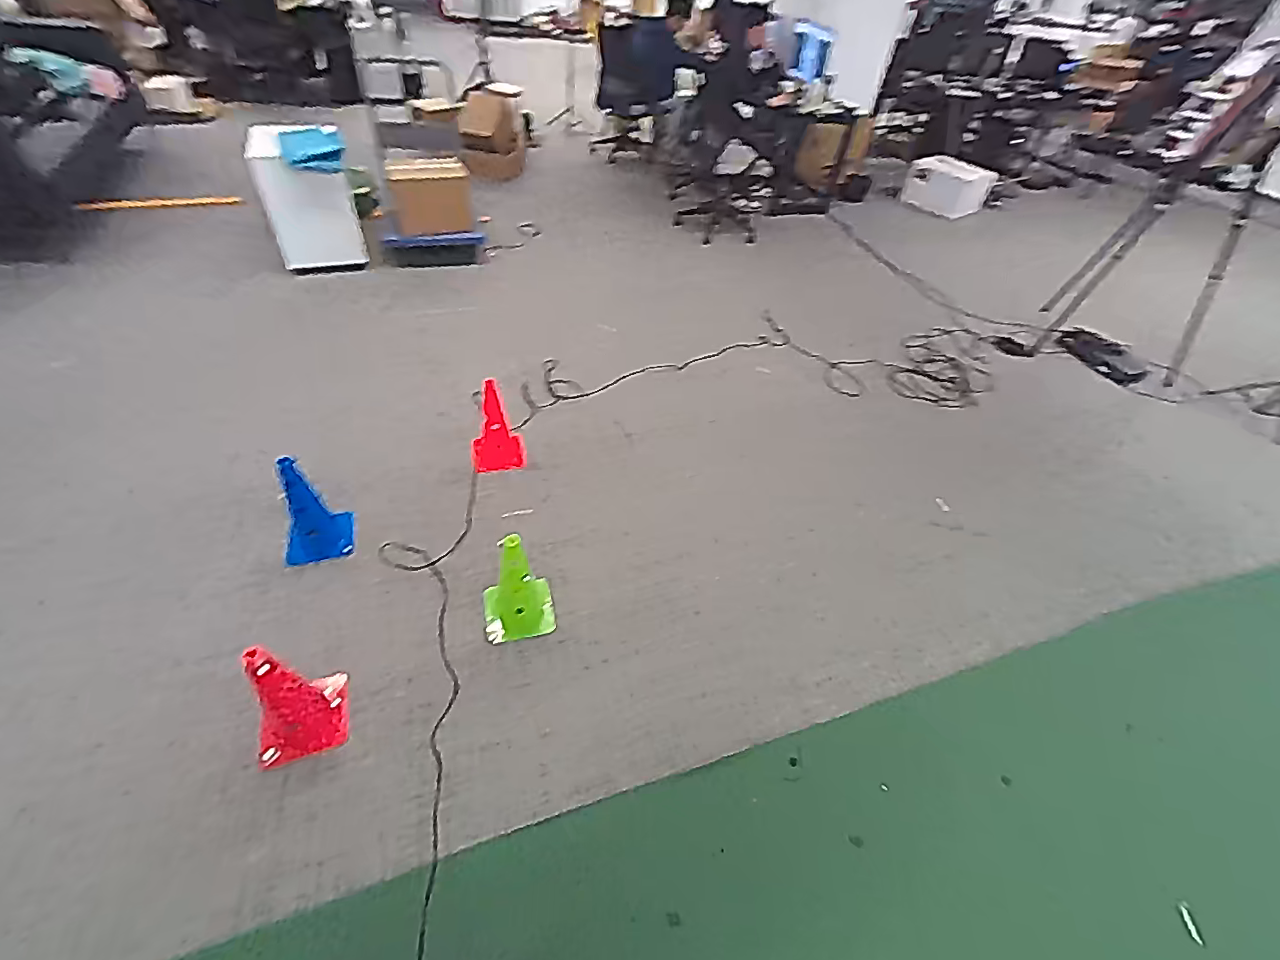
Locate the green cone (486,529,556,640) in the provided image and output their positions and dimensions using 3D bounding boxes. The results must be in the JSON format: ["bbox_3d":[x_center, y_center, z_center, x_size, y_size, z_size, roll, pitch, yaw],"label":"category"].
[{"bbox_3d":[-0.357,0.278,1.579,0.200,0.368,0.202,-8,46,-16],"label":"green cone"}]

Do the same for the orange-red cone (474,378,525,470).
[{"bbox_3d":[-0.556,-0.232,2.064,0.198,0.360,0.199,-7,48,-13],"label":"orange-red cone"}]
